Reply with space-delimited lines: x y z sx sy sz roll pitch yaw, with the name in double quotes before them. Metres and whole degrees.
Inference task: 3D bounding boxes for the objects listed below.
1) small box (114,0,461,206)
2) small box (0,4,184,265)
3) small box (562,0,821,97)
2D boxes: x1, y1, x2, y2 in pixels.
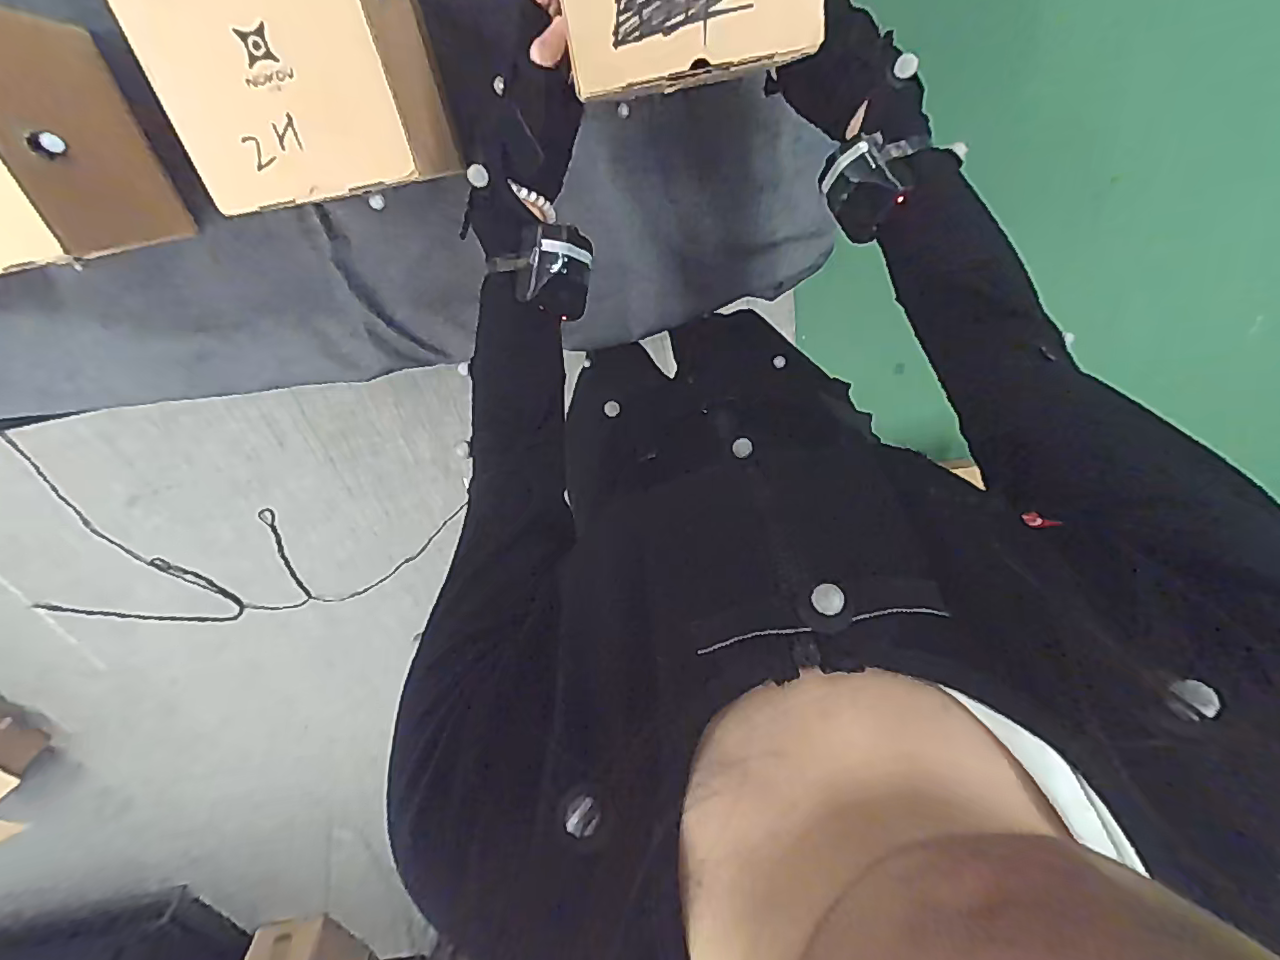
"small box" -0.267 -0.339 0.444 0.168 0.176 0.179 -10 122 2
"small box" -0.560 -0.285 0.459 0.168 0.176 0.179 -10 122 2
"small box" 0.022 -0.387 0.381 0.168 0.176 0.179 -10 123 1
